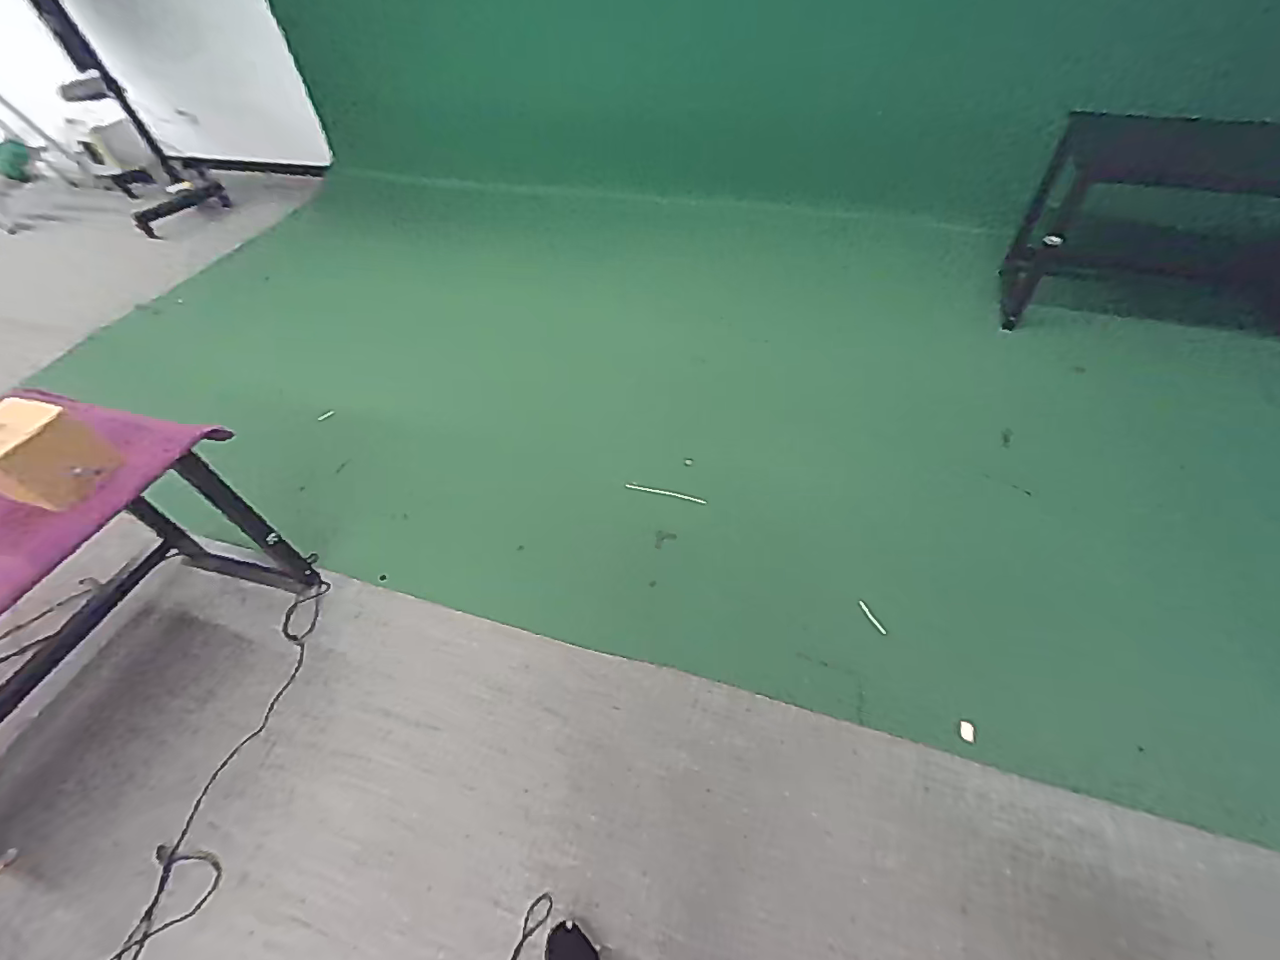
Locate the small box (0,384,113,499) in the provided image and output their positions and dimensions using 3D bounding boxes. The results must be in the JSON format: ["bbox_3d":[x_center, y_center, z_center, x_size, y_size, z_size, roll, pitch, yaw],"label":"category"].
[{"bbox_3d":[-1.322,-0.079,1.161,0.179,0.176,0.168,12,54,12],"label":"small box"}]
